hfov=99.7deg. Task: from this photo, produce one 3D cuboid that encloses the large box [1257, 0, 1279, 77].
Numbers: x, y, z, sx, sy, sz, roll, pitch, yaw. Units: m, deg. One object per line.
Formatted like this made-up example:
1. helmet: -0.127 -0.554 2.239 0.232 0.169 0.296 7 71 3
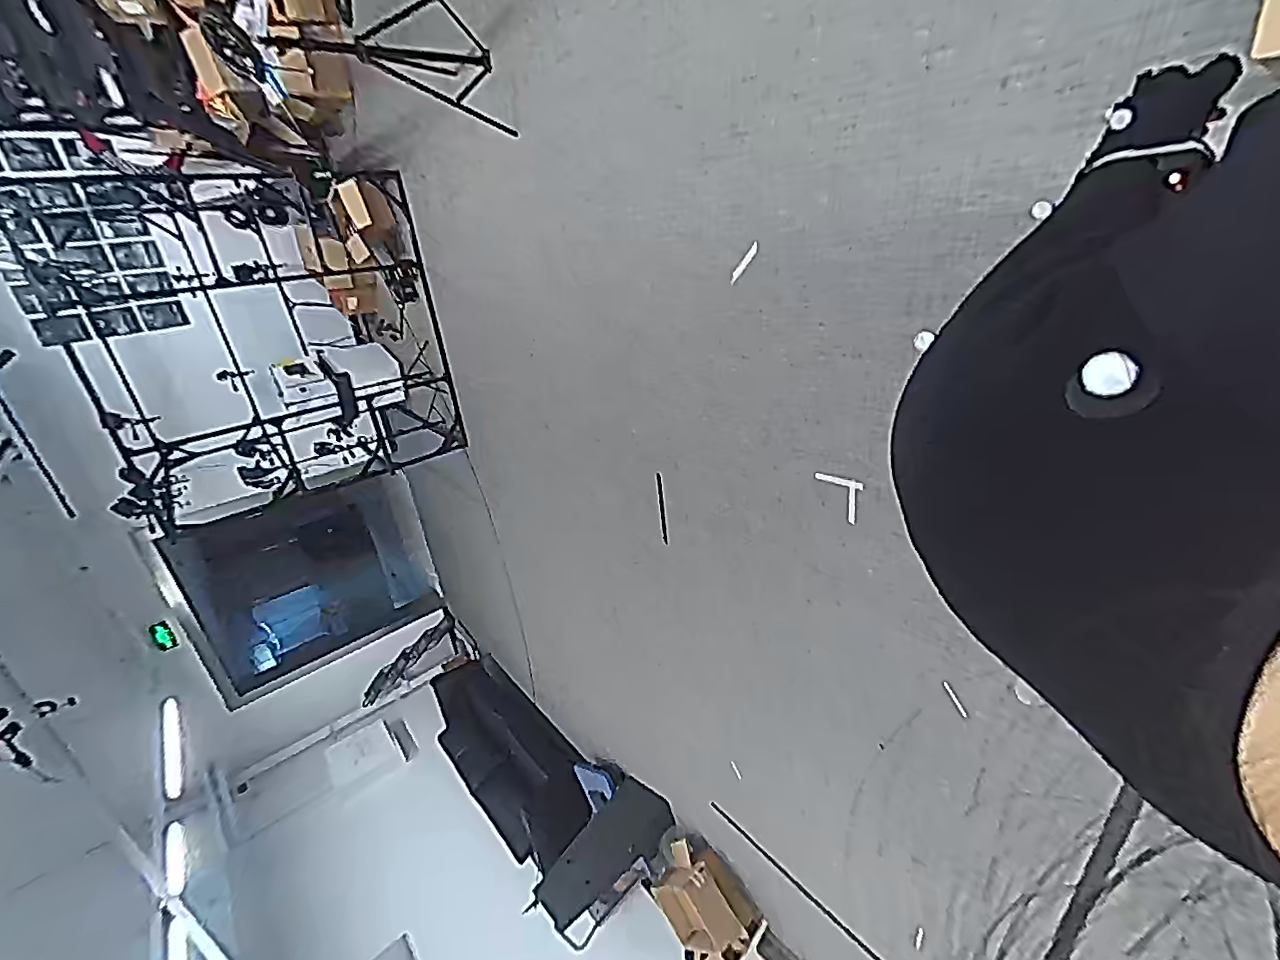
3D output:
1. large box: 1.036 -0.704 0.600 0.408 0.320 0.320 20 126 47
